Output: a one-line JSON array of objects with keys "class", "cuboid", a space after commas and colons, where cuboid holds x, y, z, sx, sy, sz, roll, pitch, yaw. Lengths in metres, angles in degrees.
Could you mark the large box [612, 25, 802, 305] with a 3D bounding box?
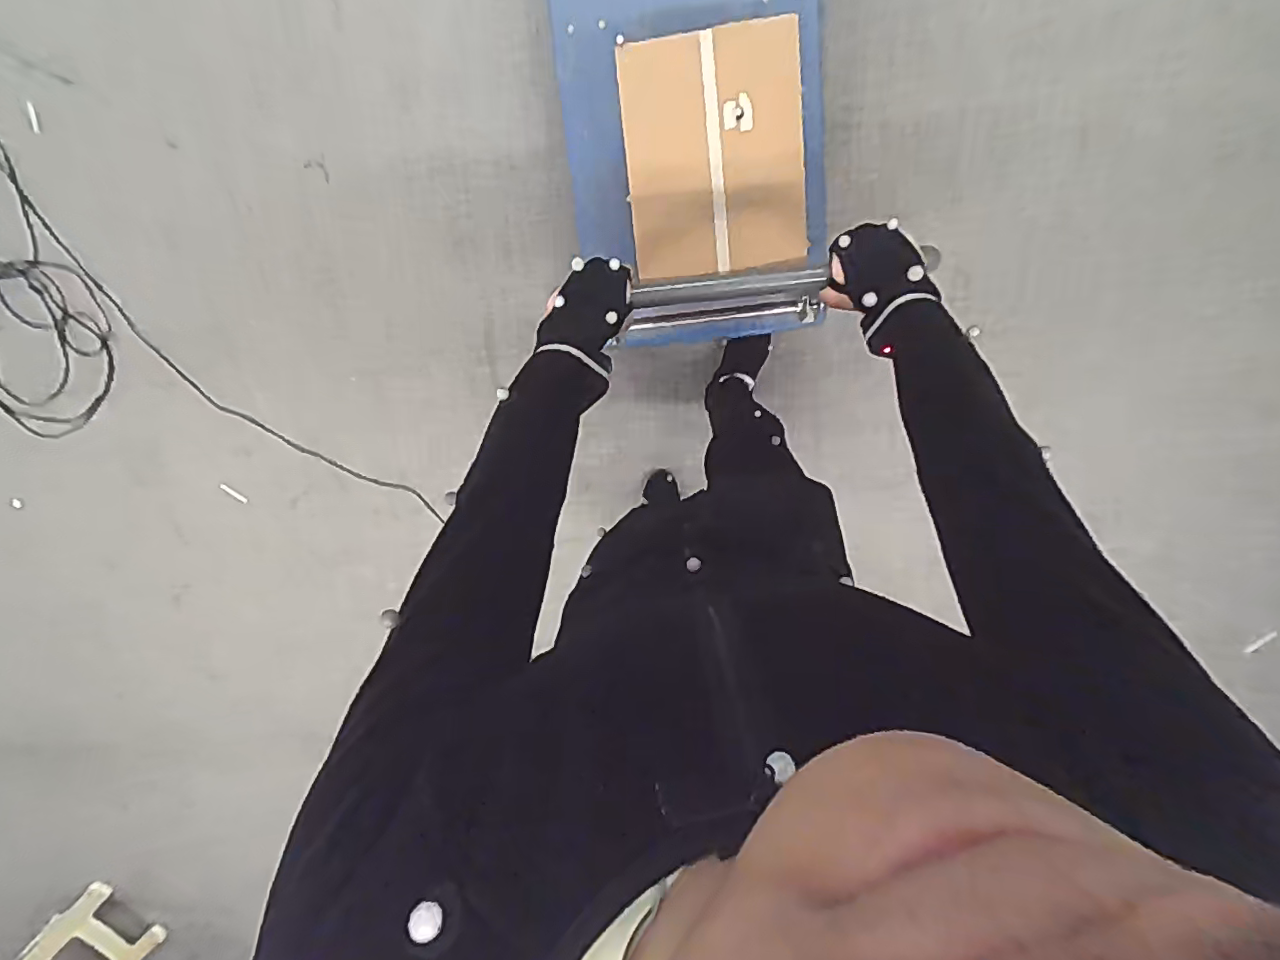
[{"class": "large box", "cuboid": [0.137, -0.602, 1.123, 0.320, 0.320, 0.408, -6, 102, 5]}]
